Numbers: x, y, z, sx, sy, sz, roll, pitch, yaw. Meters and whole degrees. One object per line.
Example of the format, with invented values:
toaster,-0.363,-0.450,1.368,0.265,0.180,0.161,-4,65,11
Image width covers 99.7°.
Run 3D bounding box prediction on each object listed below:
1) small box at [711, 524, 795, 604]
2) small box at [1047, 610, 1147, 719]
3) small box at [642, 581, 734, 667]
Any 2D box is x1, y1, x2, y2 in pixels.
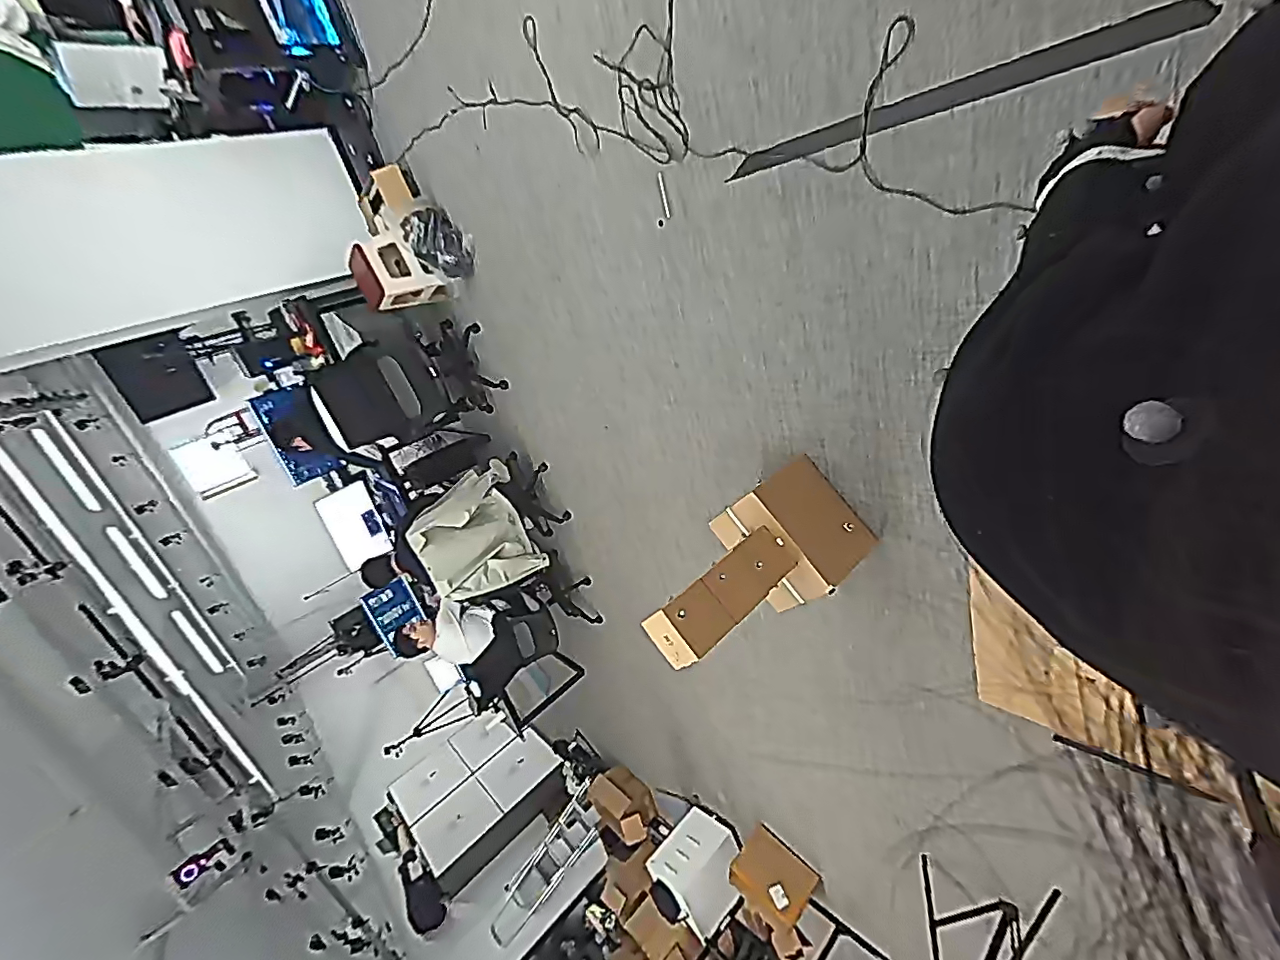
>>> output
small box,0.376,0.276,1.791,0.179,0.176,0.168,52,146,11
small box,1.198,0.474,1.418,0.168,0.176,0.179,15,128,44
small box,0.142,0.422,1.610,0.179,0.176,0.168,52,147,10
